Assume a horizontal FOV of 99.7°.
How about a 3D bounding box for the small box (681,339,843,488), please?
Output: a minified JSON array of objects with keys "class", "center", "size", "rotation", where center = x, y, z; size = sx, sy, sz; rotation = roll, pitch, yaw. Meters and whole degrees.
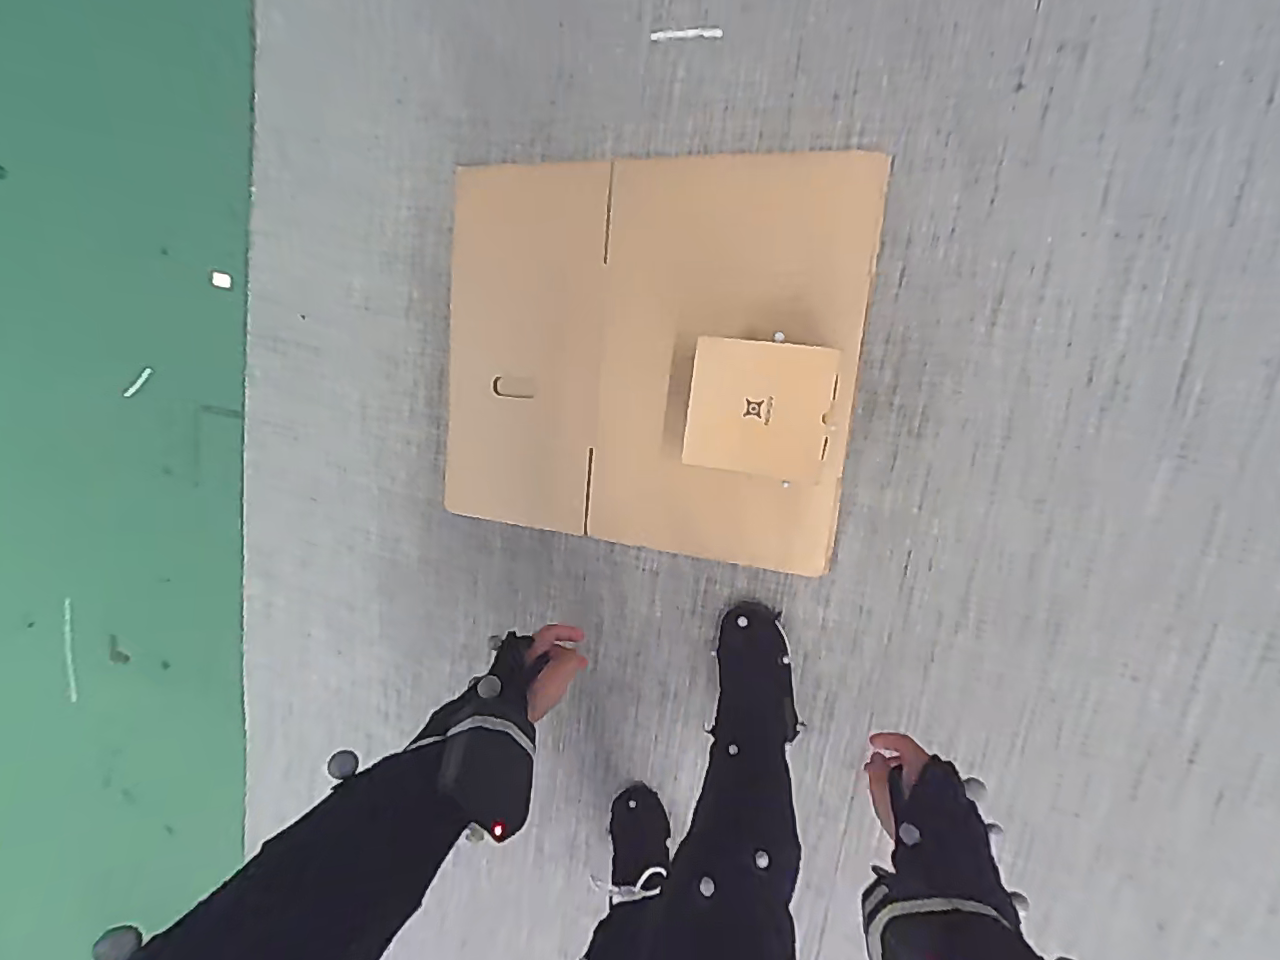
[{"class":"small box","center":[0.170,-0.091,0.742],"size":[0.179,0.176,0.168],"rotation":[10,99,16]}]
